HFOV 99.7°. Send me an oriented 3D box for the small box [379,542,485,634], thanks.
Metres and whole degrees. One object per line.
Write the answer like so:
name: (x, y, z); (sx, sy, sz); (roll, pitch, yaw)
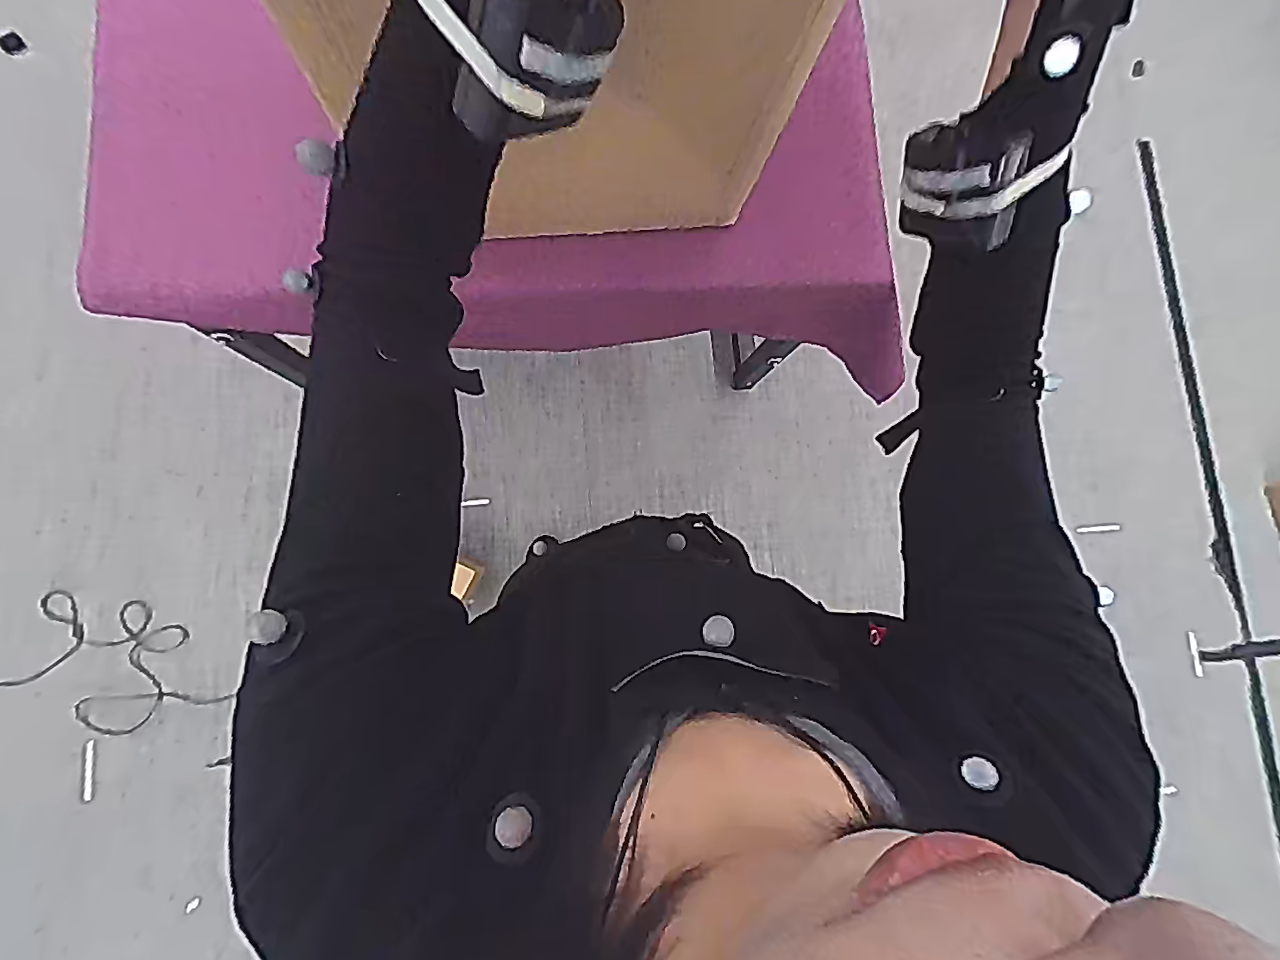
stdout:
small box: (-0.518, 0.269, 1.375); (0.179, 0.176, 0.168); (27, 81, -4)
